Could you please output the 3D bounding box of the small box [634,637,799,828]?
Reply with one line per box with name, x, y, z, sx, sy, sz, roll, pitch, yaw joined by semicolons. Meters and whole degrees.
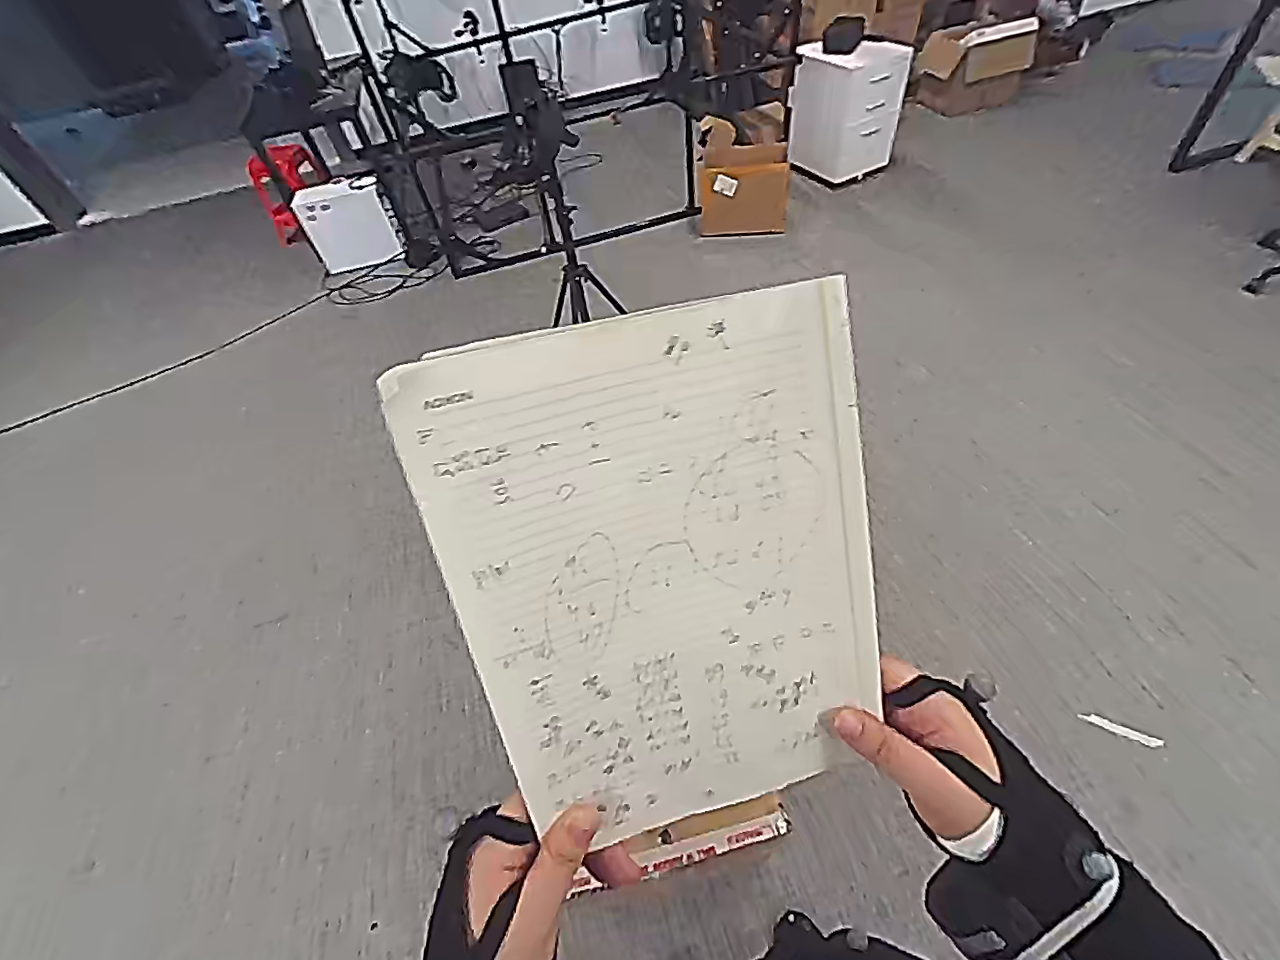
small box;0.089;0.335;0.714;0.168;0.176;0.179;-10;52;-4
